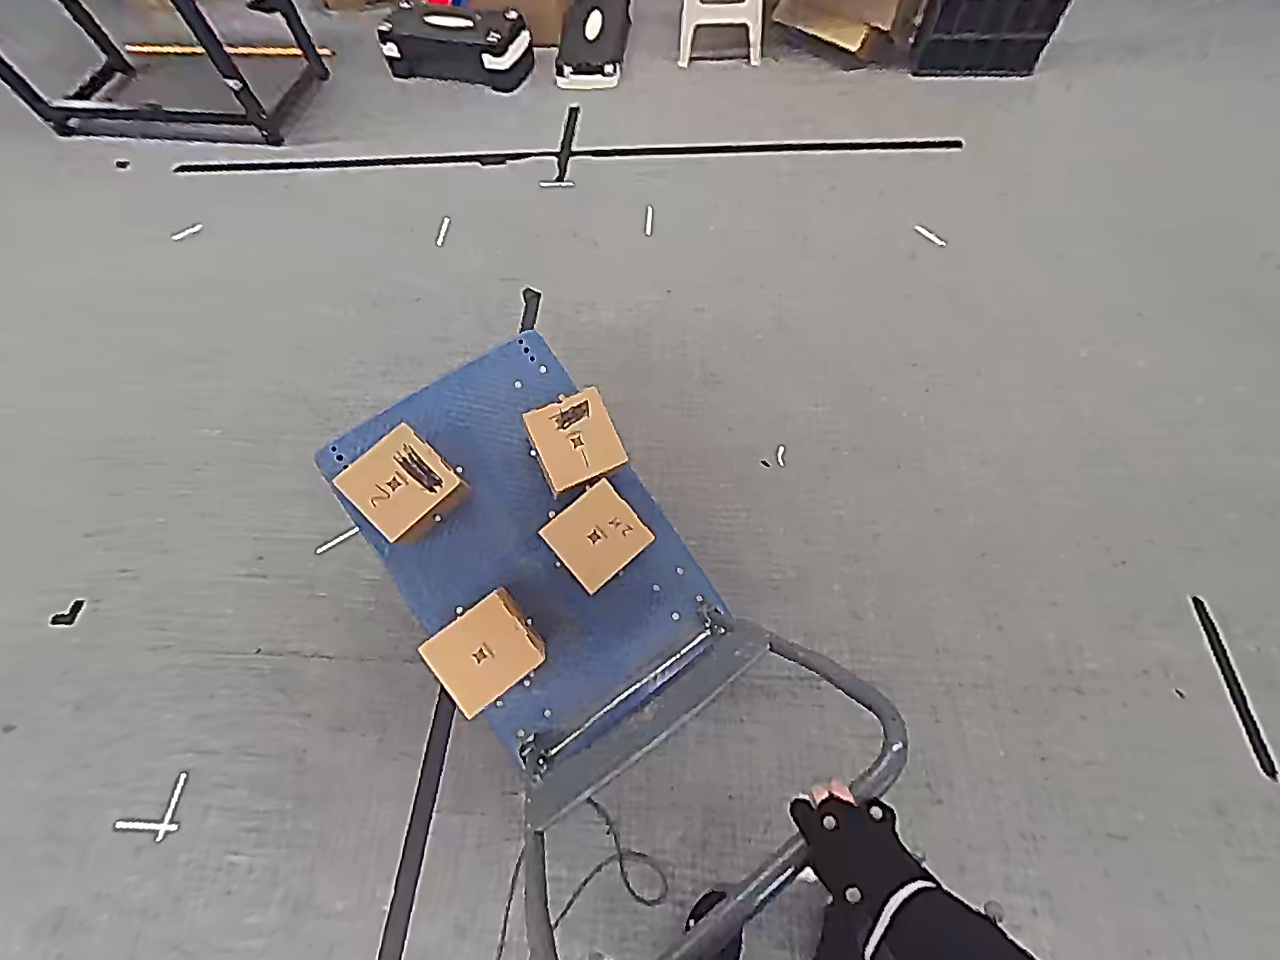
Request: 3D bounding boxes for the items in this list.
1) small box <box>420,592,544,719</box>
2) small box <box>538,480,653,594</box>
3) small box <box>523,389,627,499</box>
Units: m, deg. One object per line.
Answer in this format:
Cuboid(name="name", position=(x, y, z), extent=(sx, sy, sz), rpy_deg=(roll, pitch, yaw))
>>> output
Cuboid(name="small box", position=(-0.309, 0.346, 1.100), extent=(0.179, 0.176, 0.168), rpy_deg=(-37, 89, -14))
Cuboid(name="small box", position=(-0.098, 0.125, 1.165), extent=(0.179, 0.176, 0.168), rpy_deg=(-40, 90, -12))
Cuboid(name="small box", position=(-0.146, -0.072, 1.185), extent=(0.168, 0.176, 0.179), rpy_deg=(-24, 87, -11))
